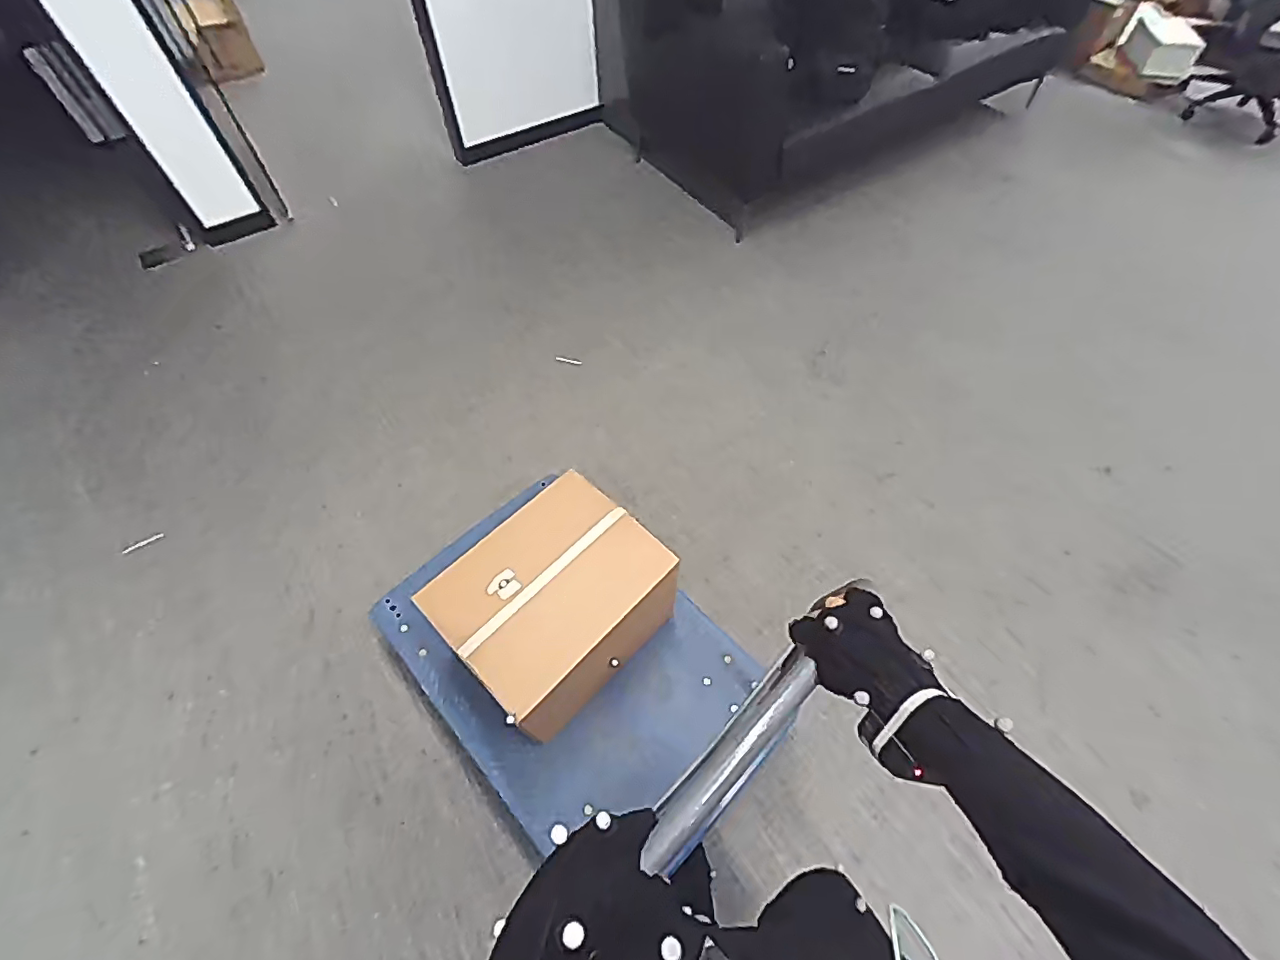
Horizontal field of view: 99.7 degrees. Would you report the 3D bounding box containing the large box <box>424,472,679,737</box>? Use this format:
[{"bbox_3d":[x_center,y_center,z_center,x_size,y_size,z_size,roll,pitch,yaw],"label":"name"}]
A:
[{"bbox_3d":[-0.163,0.268,1.160,0.320,0.320,0.408,38,66,22],"label":"large box"}]
